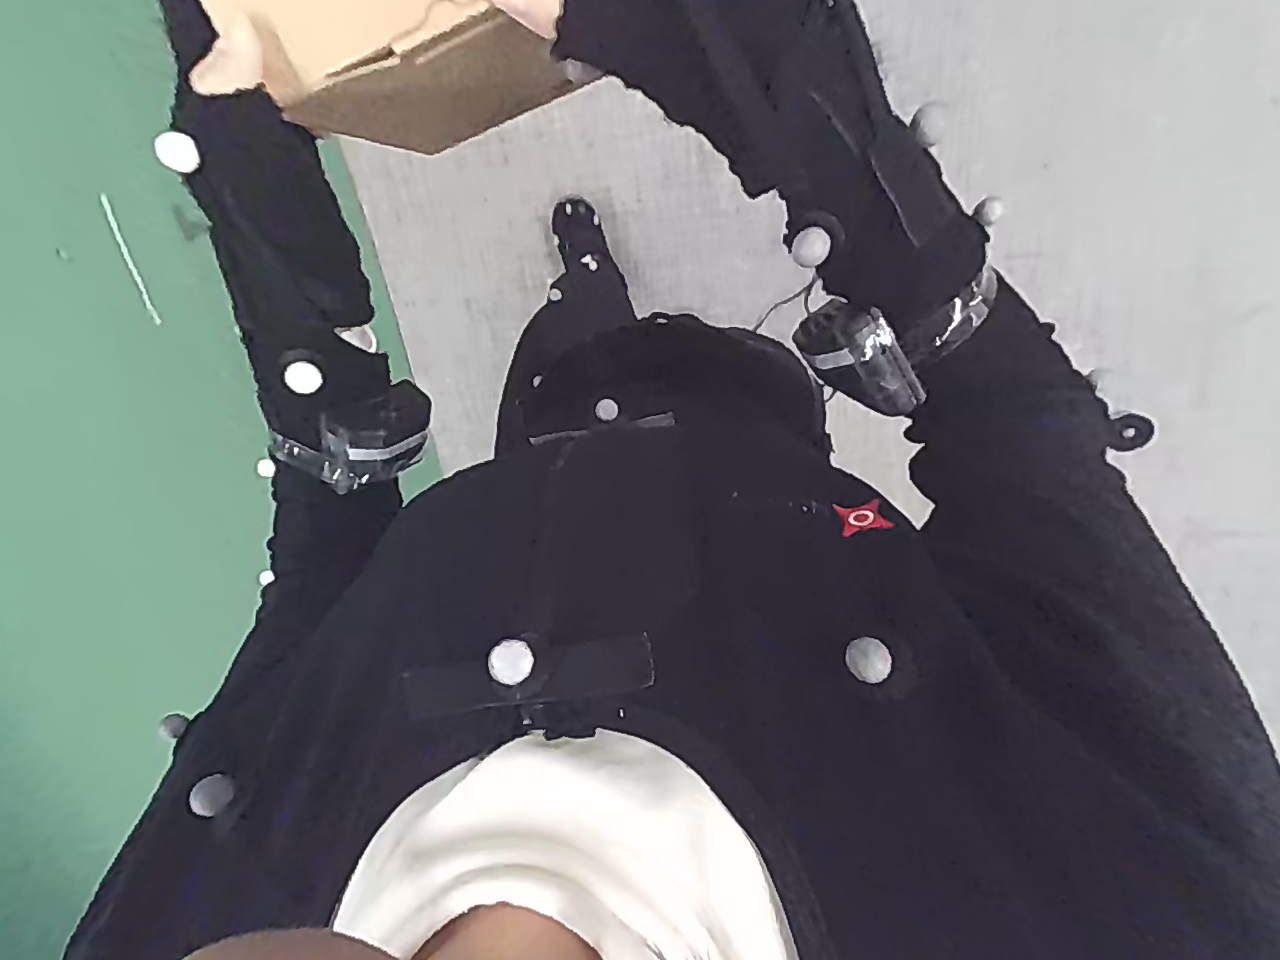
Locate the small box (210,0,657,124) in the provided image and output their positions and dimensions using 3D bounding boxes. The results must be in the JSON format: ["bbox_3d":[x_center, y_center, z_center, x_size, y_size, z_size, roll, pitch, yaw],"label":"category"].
[{"bbox_3d":[-0.097,-0.281,0.232,0.168,0.176,0.179,-19,114,13],"label":"small box"}]
